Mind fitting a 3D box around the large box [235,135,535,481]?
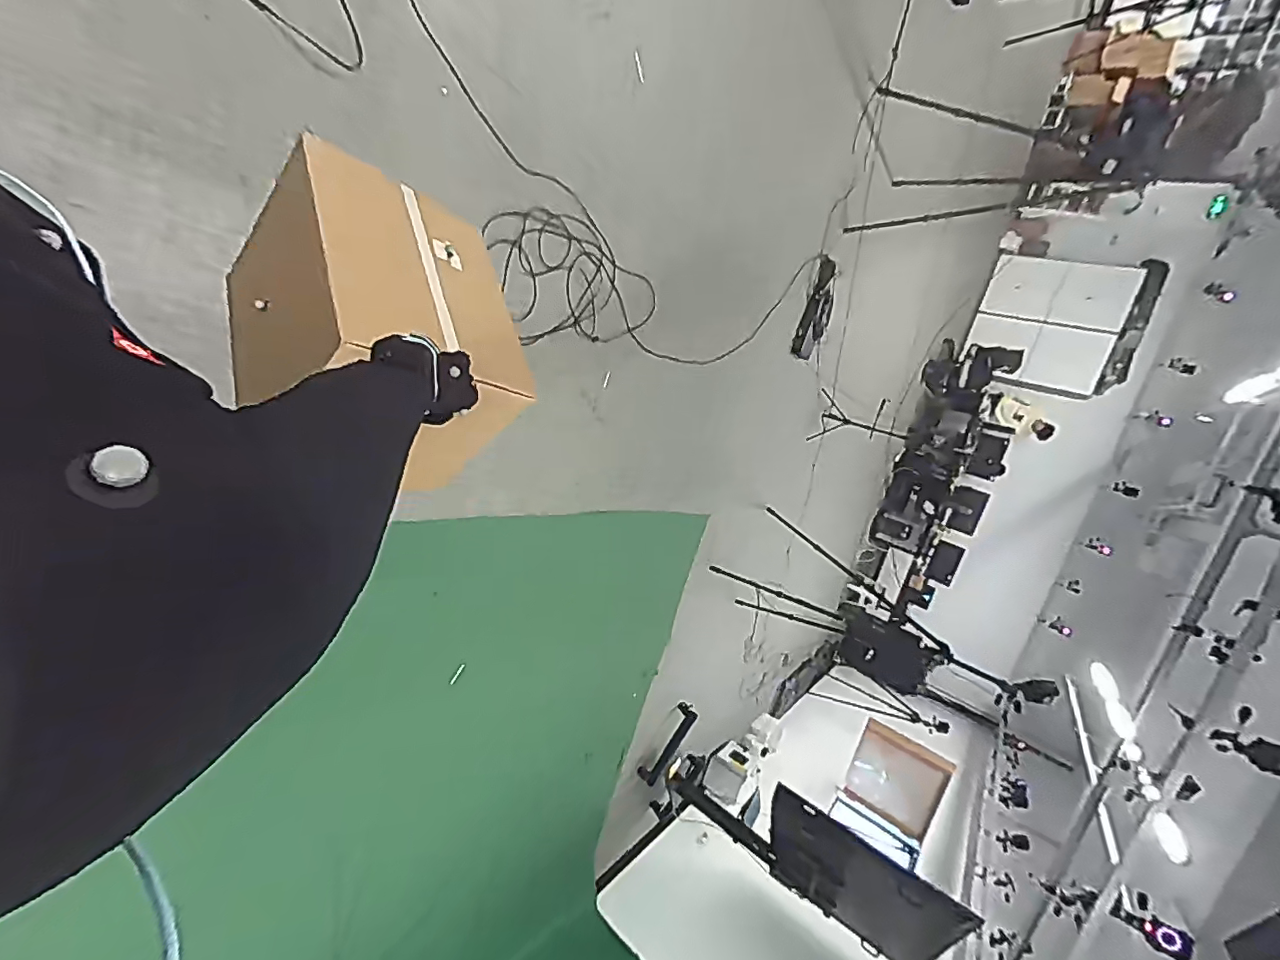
[{"bbox_3d":[-0.438,-0.248,0.910,0.320,0.408,0.320,-35,155,28],"label":"large box"}]
